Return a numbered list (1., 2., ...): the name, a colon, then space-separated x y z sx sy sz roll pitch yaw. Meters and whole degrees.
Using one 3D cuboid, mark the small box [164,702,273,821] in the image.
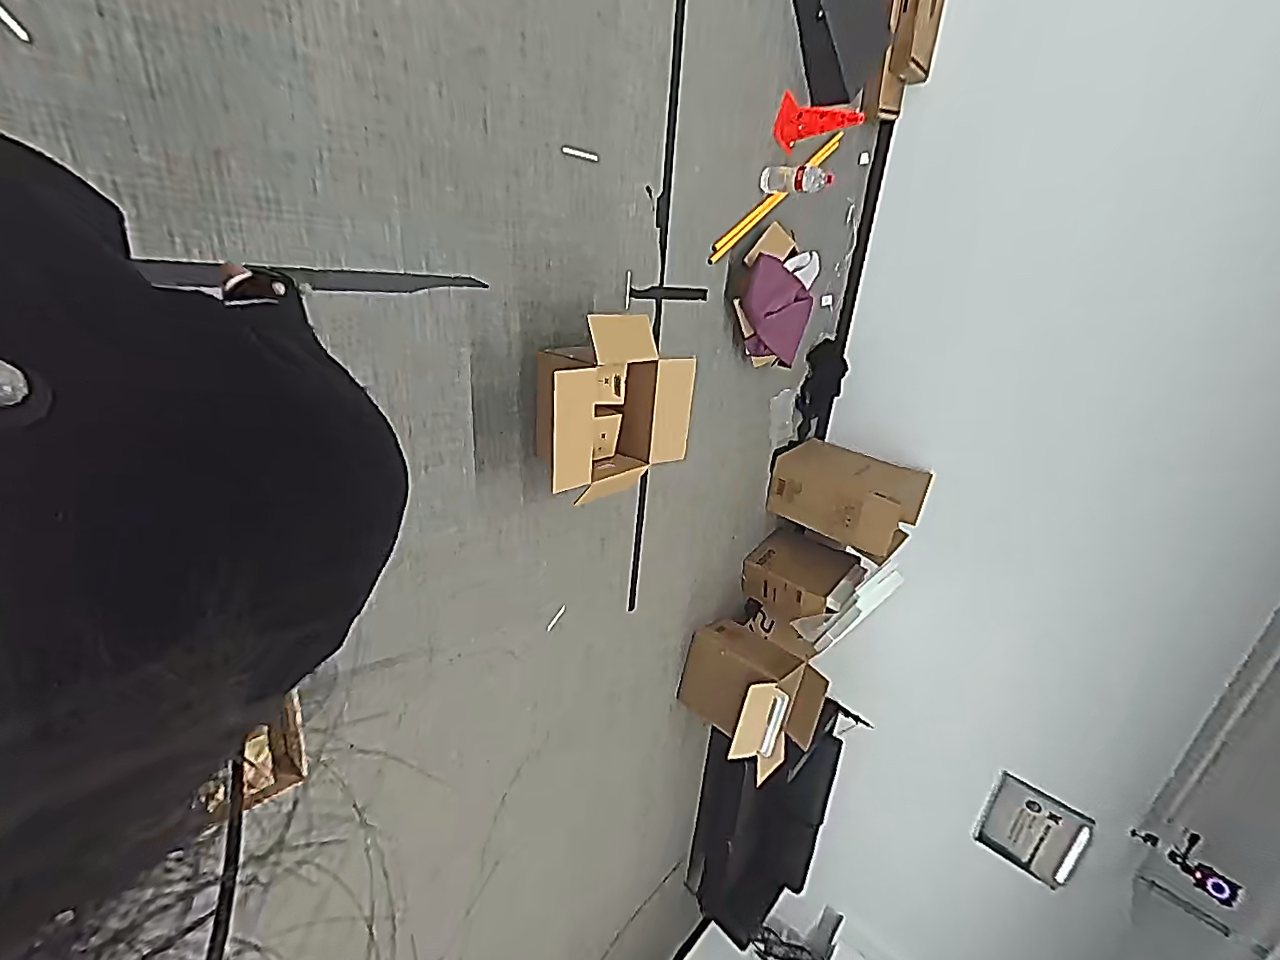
1. small box: -1.072 0.705 1.378 0.179 0.176 0.168 -15 117 -46
